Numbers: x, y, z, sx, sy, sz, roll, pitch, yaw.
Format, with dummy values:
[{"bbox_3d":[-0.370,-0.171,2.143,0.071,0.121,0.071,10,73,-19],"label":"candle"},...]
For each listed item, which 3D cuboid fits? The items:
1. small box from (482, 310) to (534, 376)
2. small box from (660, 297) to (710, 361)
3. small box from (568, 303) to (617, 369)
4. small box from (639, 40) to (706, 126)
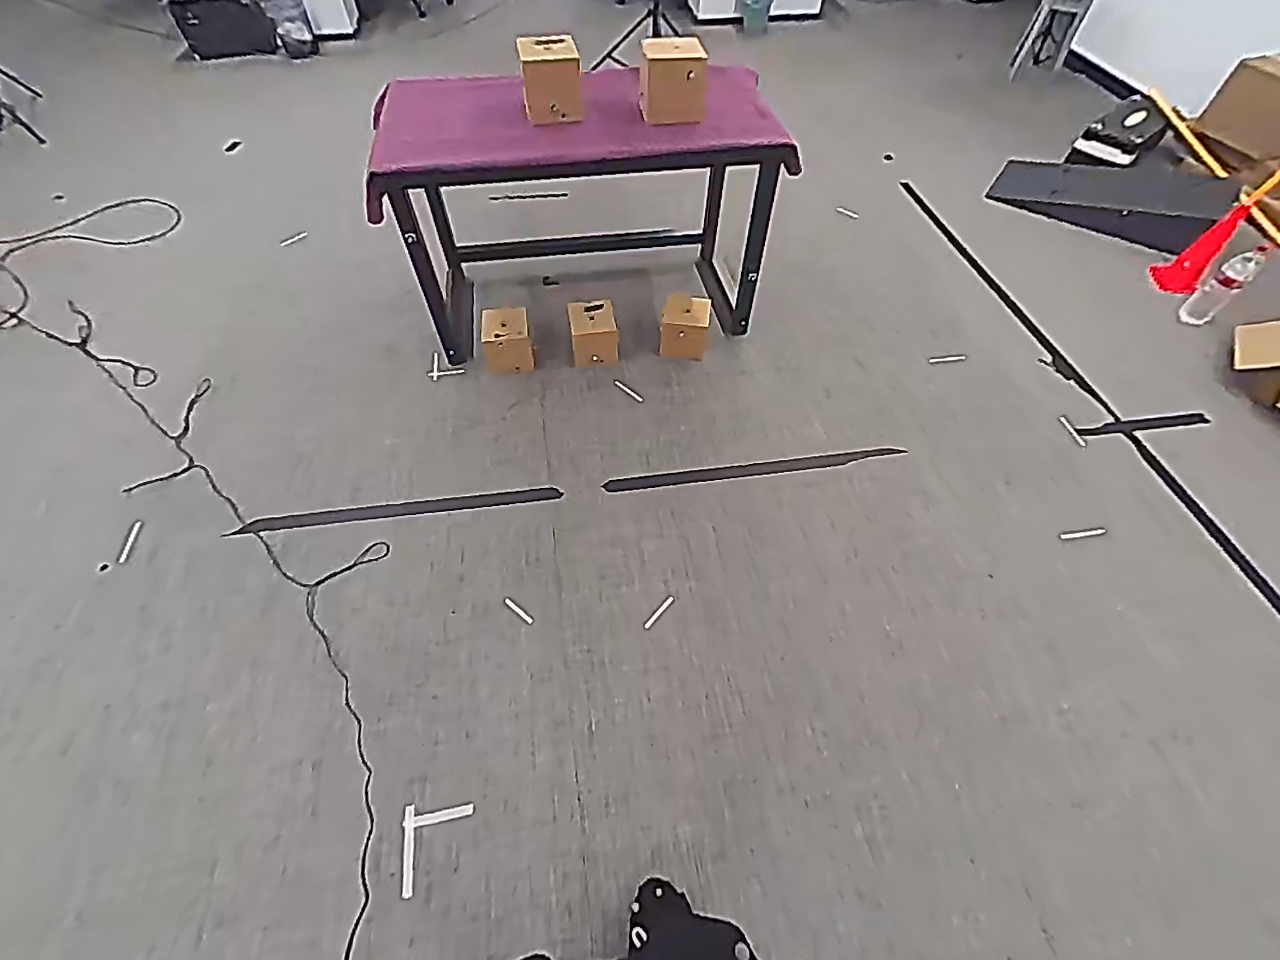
[{"bbox_3d":[-0.496,-0.516,2.043,0.168,0.176,0.179,-7,55,-5],"label":"small box"},{"bbox_3d":[0.172,-0.582,2.097,0.179,0.176,0.168,6,56,5],"label":"small box"},{"bbox_3d":[-0.182,-0.550,2.068,0.168,0.176,0.179,-8,56,-6],"label":"small box"},{"bbox_3d":[0.091,-1.198,1.635,0.179,0.176,0.168,-6,54,-4],"label":"small box"}]
